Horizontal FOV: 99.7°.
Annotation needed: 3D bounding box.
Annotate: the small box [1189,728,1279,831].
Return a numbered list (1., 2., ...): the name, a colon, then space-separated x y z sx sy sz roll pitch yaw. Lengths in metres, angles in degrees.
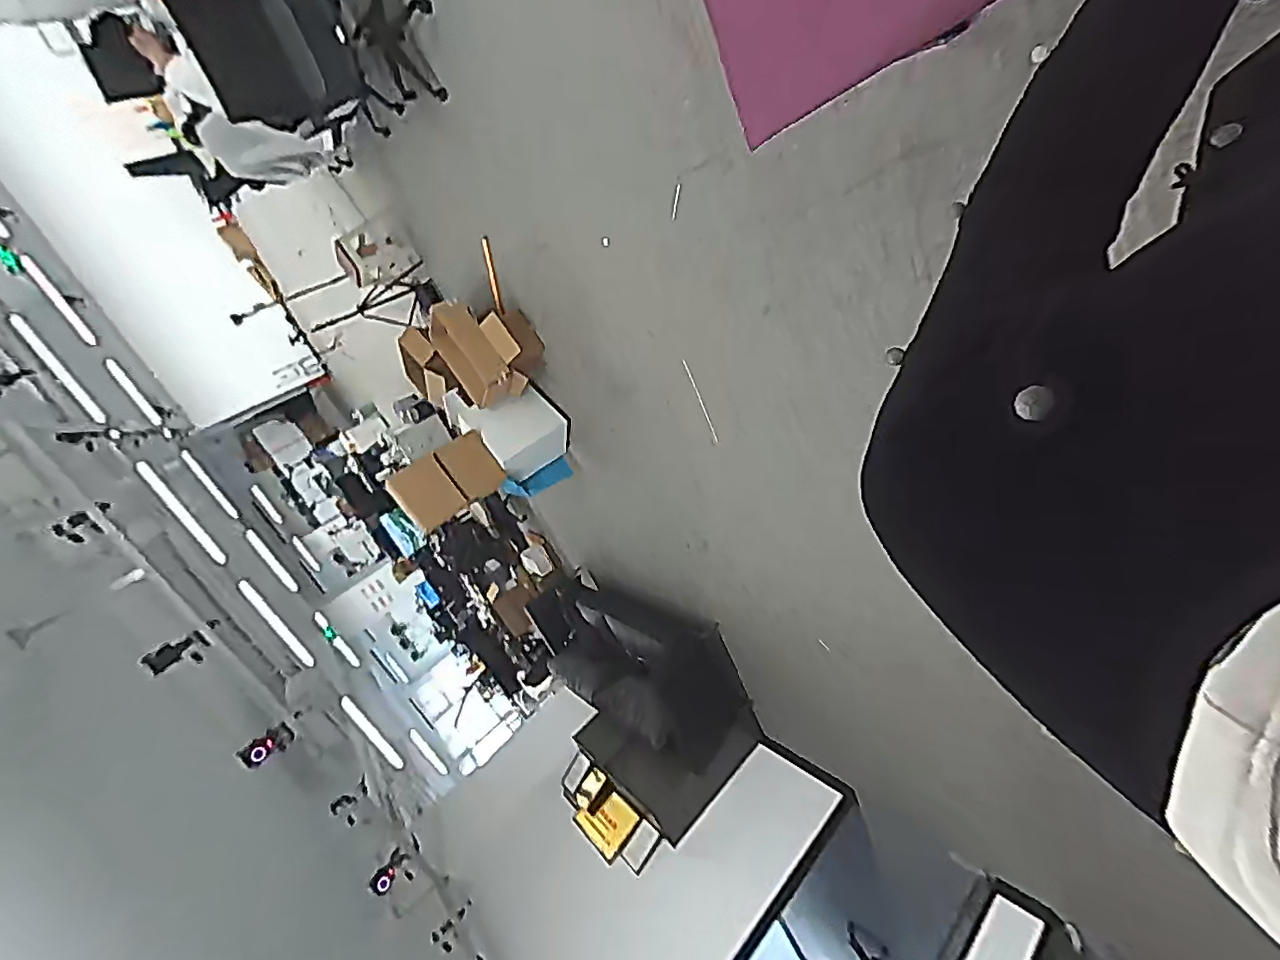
1. small box: 1.803 0.890 1.625 0.179 0.176 0.168 16 135 52
